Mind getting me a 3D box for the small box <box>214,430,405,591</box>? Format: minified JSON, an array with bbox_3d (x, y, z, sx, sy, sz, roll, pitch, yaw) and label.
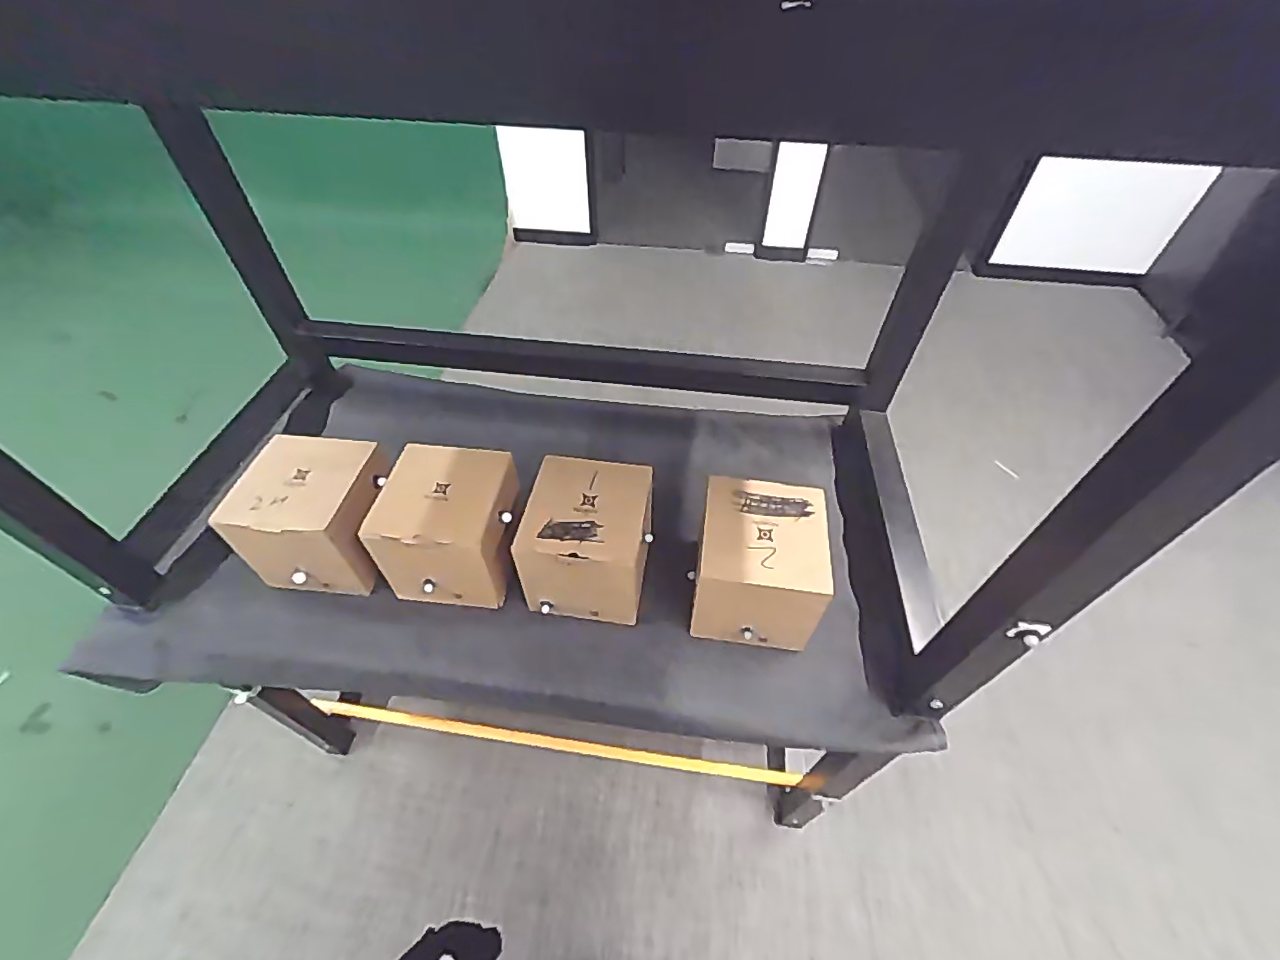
[{"bbox_3d":[-0.487,0.047,0.837,0.168,0.176,0.179,5,49,3],"label":"small box"}]
